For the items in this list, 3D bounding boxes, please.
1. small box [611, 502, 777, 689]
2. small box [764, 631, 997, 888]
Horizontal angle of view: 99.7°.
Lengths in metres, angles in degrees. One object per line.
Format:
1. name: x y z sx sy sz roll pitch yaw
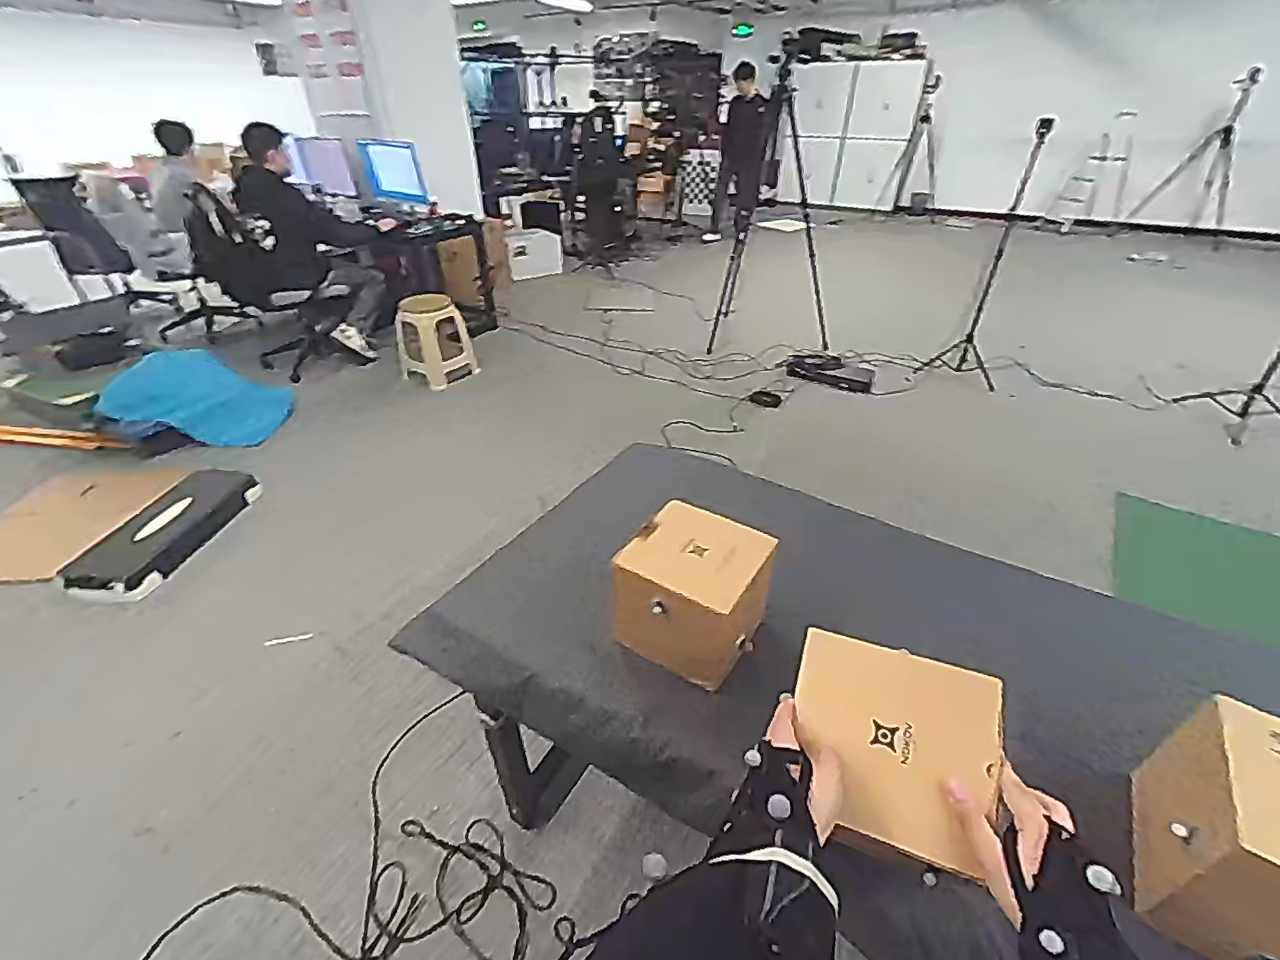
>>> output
1. small box: 0.074 0.164 0.779 0.179 0.176 0.168 22 40 26
2. small box: 0.229 0.278 0.541 0.179 0.176 0.168 12 58 20
